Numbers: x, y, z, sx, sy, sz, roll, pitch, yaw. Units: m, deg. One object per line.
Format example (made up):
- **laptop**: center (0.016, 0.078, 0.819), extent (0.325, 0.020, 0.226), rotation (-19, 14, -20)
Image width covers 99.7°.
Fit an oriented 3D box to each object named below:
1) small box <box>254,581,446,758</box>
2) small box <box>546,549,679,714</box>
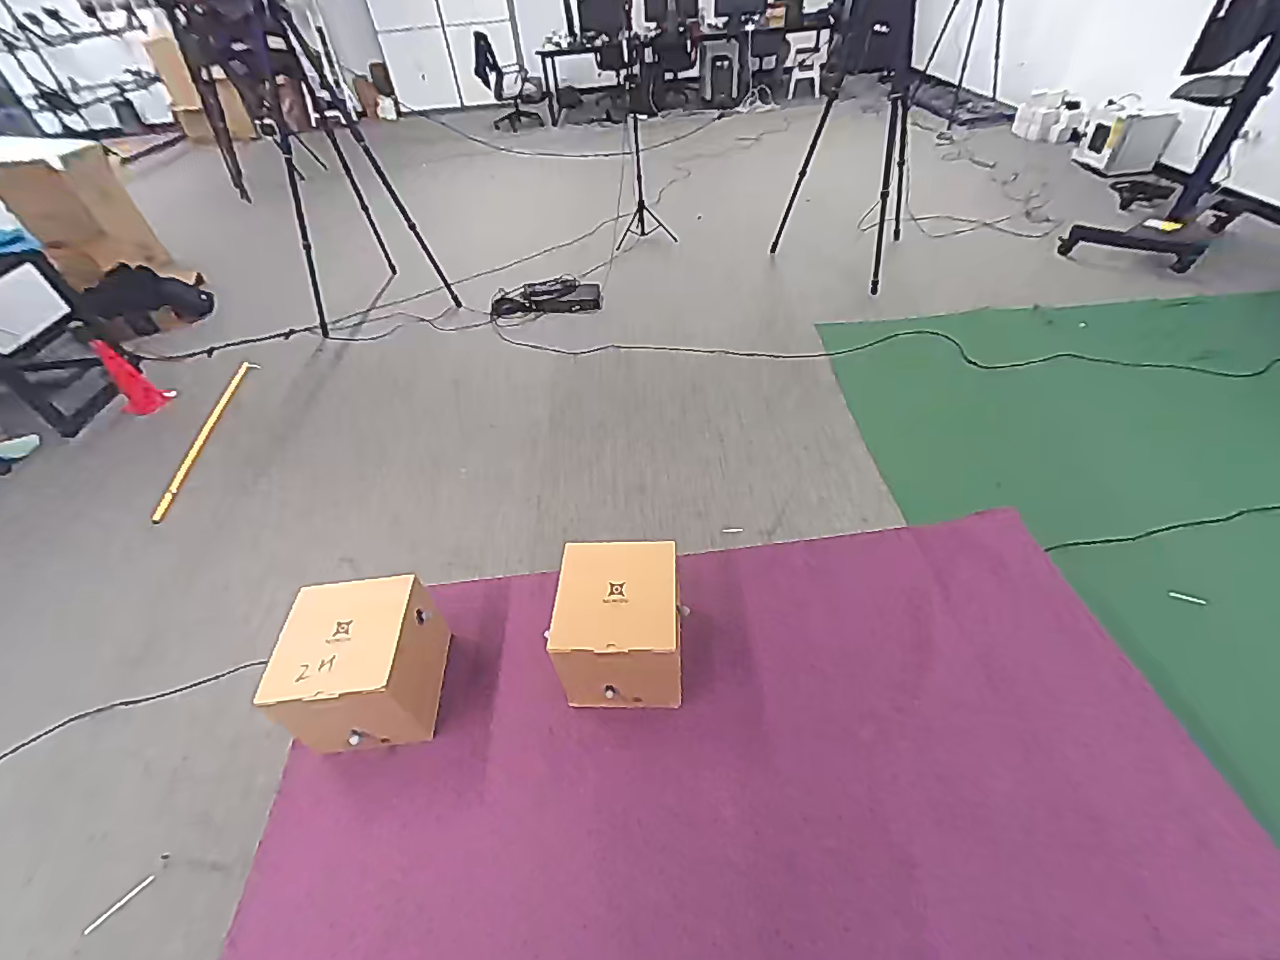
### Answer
- **small box**: center (-0.393, 0.271, 0.776), extent (0.168, 0.176, 0.179), rotation (-6, 44, 0)
- **small box**: center (-0.029, 0.220, 0.793), extent (0.168, 0.176, 0.179), rotation (-2, 45, 5)
